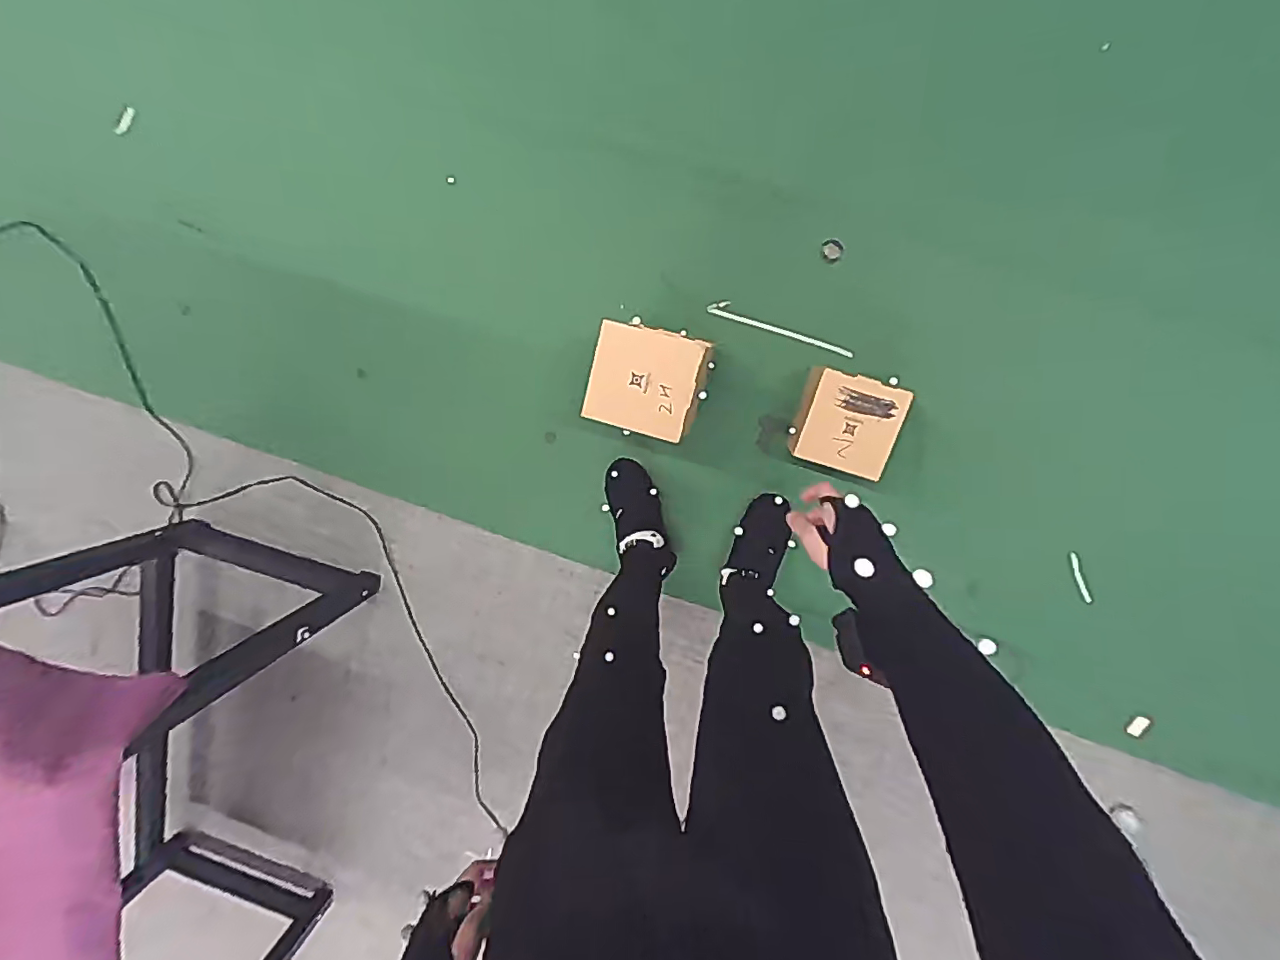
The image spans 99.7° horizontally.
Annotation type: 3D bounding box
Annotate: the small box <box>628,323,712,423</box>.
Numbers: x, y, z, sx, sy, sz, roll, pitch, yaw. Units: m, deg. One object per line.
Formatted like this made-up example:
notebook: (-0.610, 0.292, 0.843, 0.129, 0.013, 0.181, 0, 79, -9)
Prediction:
small box: (0.047, -0.211, 1.116, 0.168, 0.176, 0.179, 16, 103, 7)

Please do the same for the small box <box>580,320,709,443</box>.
small box: (0.015, -0.174, 0.959, 0.179, 0.176, 0.168, 17, 104, 6)
